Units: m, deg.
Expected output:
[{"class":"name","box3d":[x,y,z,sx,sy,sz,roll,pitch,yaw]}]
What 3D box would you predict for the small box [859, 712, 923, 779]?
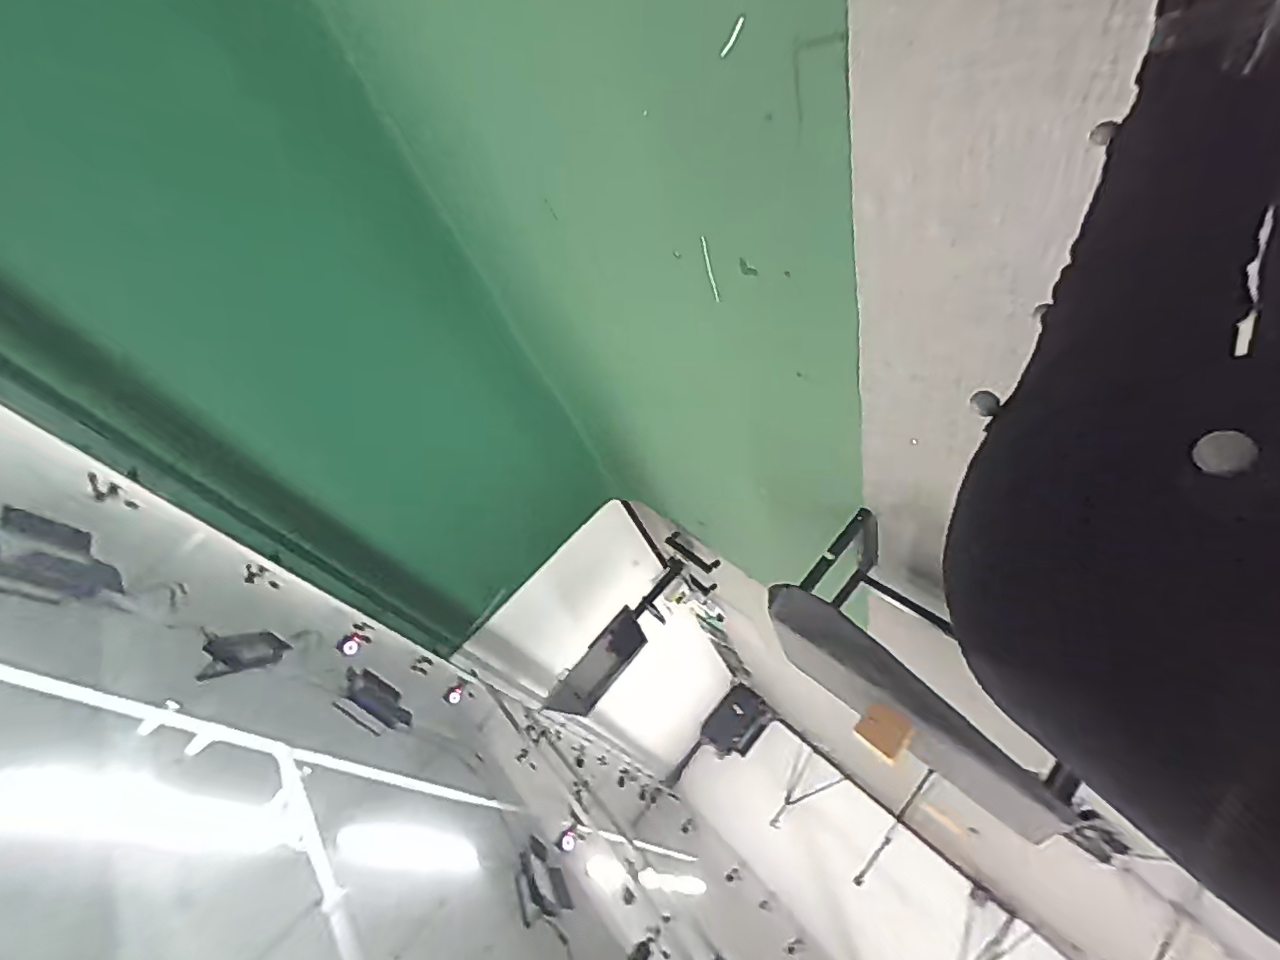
[{"class":"small box","box3d":[1.030,1.080,2.219,0.179,0.176,0.168,30,161,40]}]
